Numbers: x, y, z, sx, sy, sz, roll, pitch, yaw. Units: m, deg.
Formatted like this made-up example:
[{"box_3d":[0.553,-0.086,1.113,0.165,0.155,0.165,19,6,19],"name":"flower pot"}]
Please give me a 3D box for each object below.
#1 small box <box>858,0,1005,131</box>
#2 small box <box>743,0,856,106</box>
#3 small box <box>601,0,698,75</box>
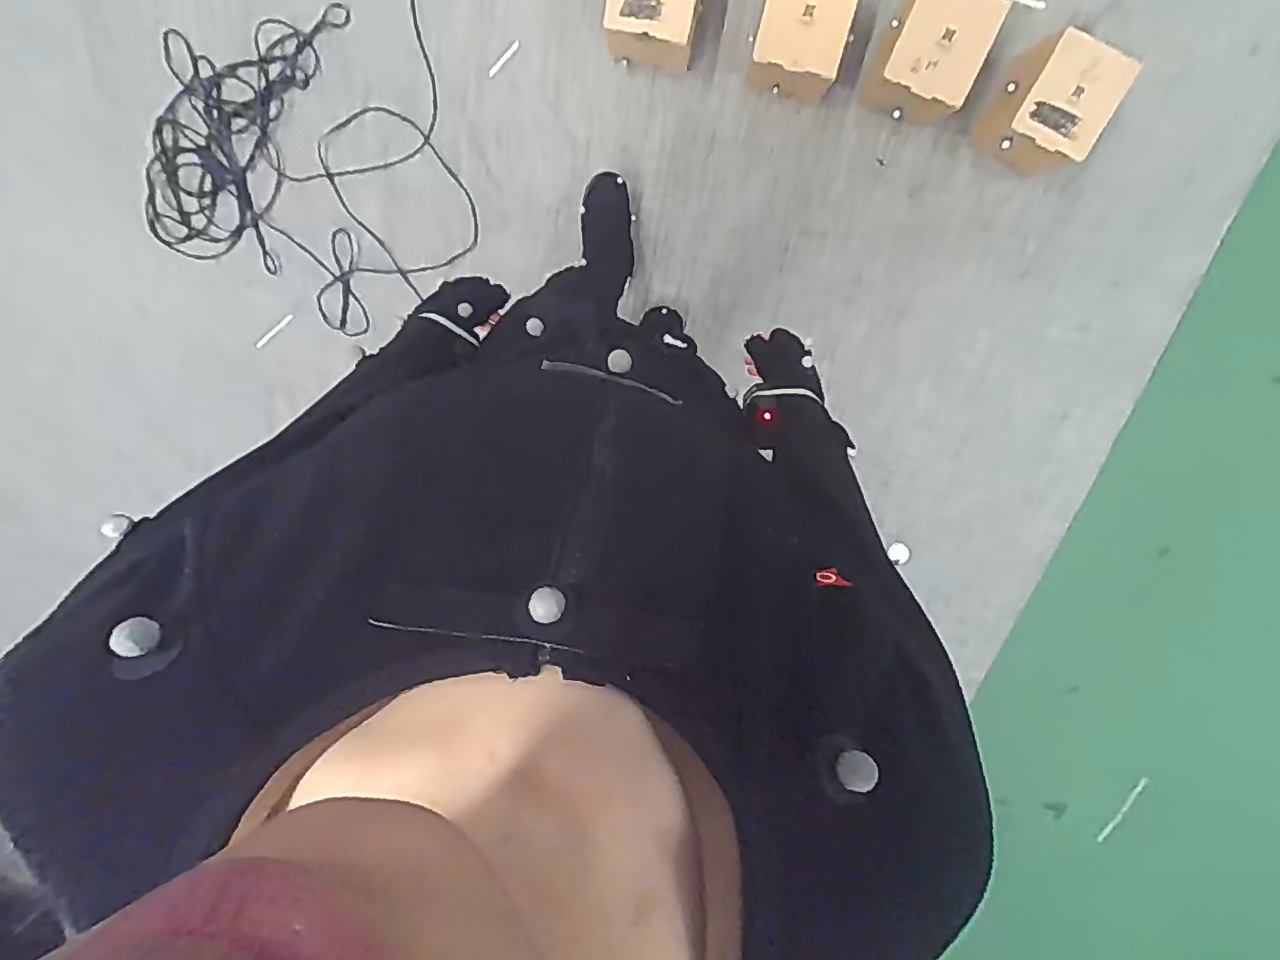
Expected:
[{"box_3d":[0.563,-0.836,1.076,0.168,0.176,0.179,20,111,-3],"name":"small box"},{"box_3d":[0.311,-0.884,1.076,0.168,0.176,0.179,13,111,-1],"name":"small box"},{"box_3d":[0.026,-0.943,1.071,0.168,0.176,0.179,12,110,-1],"name":"small box"}]
